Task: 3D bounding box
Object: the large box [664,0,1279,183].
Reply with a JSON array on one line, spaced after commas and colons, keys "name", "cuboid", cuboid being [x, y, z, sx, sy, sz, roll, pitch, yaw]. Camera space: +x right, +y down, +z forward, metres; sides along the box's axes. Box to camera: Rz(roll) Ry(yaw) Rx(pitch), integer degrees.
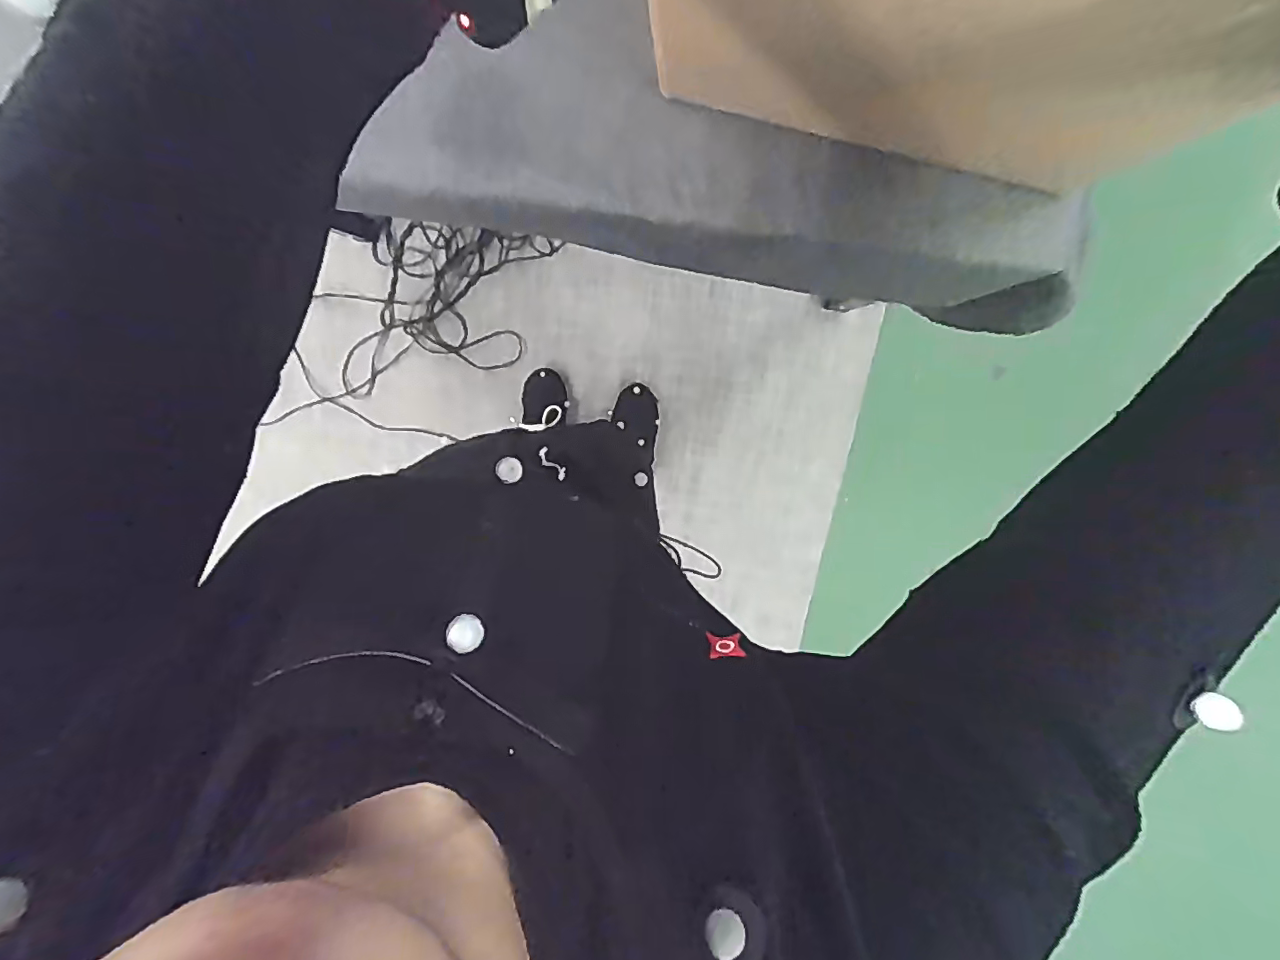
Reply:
[{"name": "large box", "cuboid": [0.239, -0.437, 0.339, 0.408, 0.320, 0.320, 14, 104, 1]}]
